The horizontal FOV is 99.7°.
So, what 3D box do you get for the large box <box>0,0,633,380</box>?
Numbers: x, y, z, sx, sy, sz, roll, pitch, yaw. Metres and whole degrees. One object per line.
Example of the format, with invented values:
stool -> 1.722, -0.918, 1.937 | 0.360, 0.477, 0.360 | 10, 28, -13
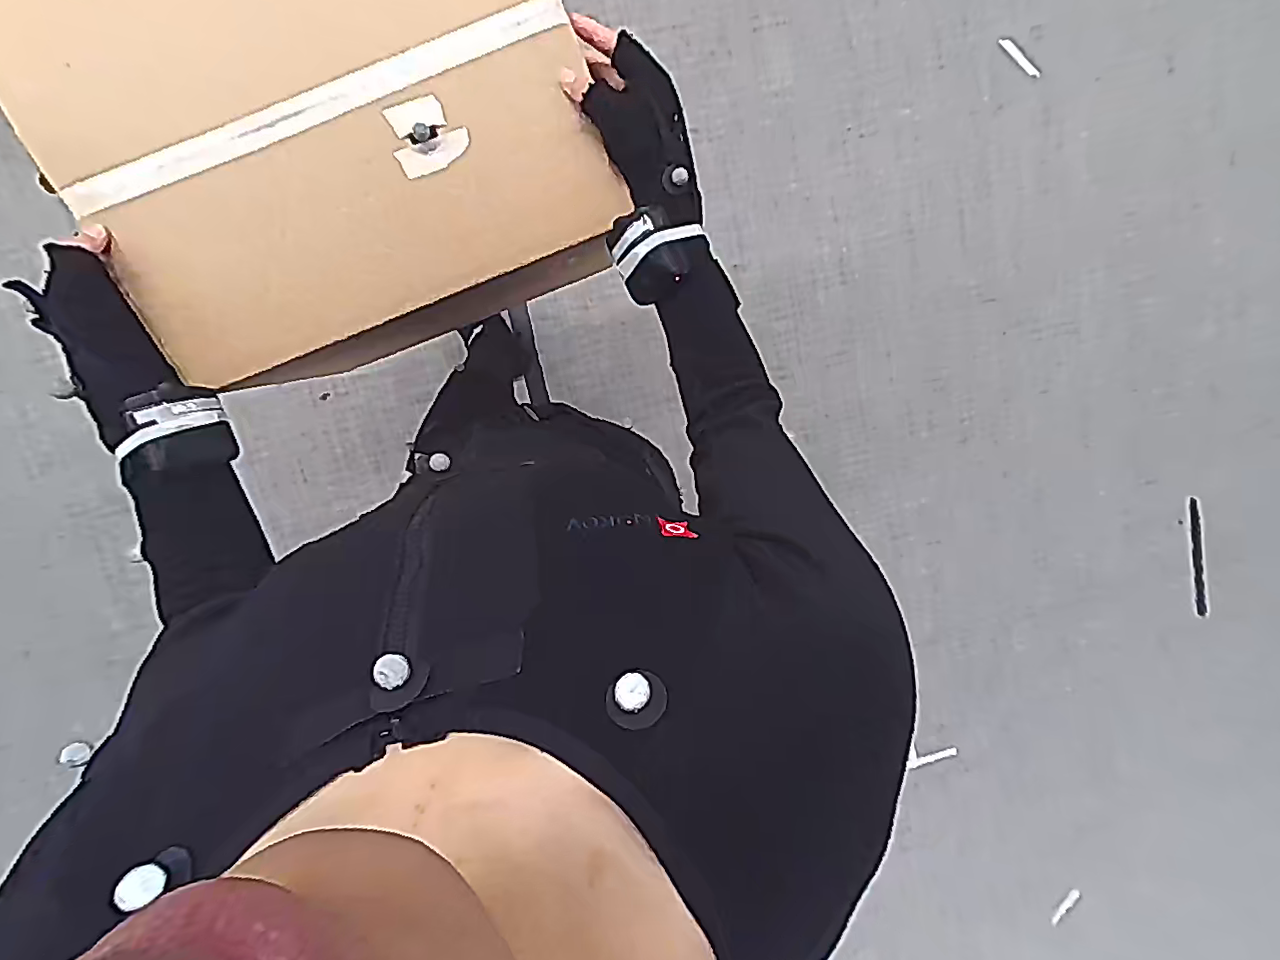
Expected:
large box -> -0.261, -0.333, 0.577 | 0.408, 0.320, 0.320 | -23, 107, -1
